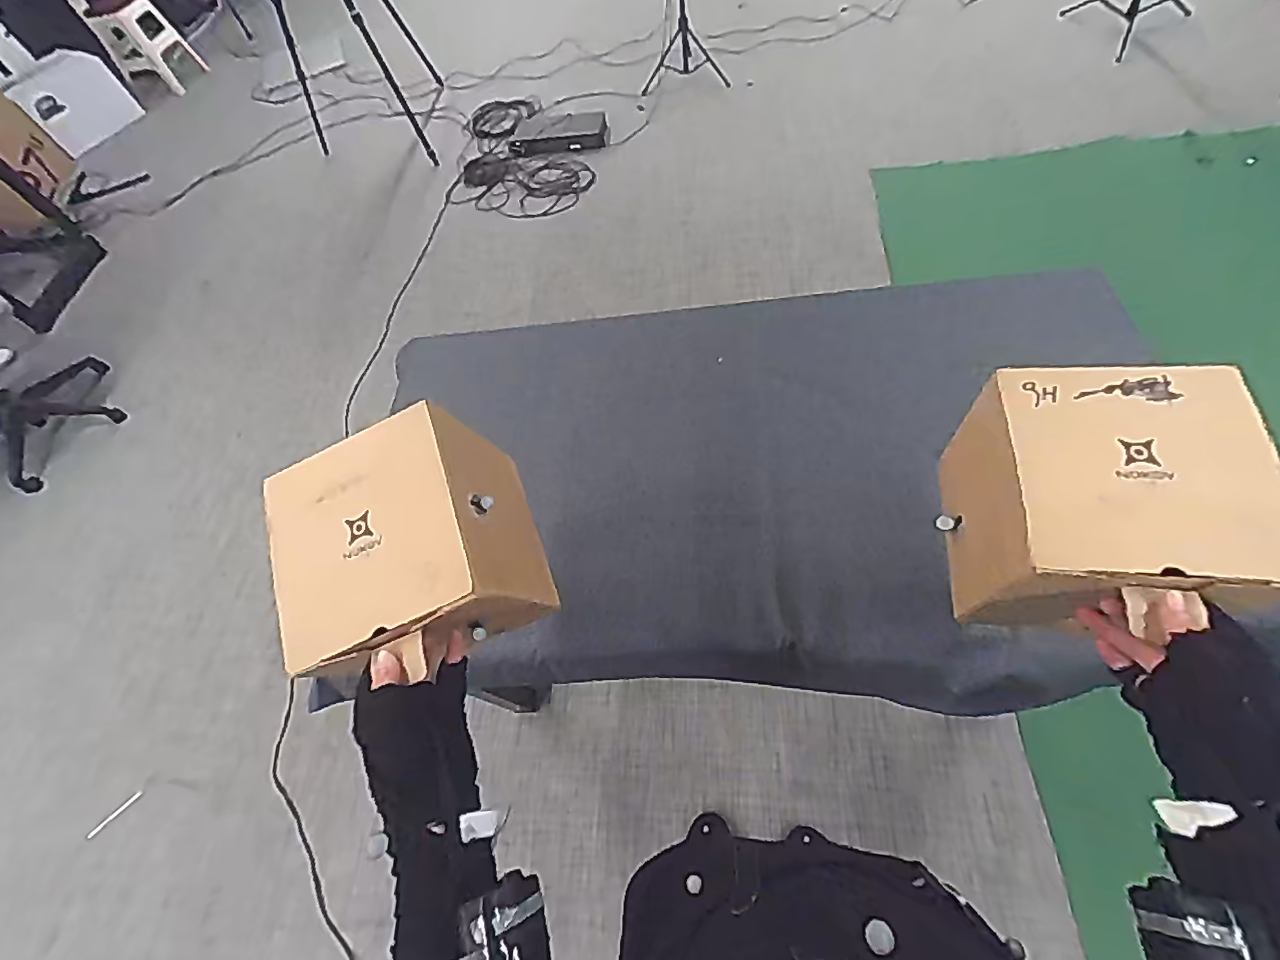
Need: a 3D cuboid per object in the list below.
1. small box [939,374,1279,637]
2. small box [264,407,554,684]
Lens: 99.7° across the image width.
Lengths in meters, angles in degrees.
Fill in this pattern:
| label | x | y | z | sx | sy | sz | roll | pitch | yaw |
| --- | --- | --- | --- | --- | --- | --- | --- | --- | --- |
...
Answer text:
| label | x | y | z | sx | sy | sz | roll | pitch | yaw |
| --- | --- | --- | --- | --- | --- | --- | --- | --- | --- |
| small box | 0.375 | 0.030 | 0.463 | 0.168 | 0.176 | 0.179 | 2 | 65 | 12 |
| small box | -0.199 | 0.069 | 0.497 | 0.168 | 0.176 | 0.179 | -25 | 67 | 5 |
